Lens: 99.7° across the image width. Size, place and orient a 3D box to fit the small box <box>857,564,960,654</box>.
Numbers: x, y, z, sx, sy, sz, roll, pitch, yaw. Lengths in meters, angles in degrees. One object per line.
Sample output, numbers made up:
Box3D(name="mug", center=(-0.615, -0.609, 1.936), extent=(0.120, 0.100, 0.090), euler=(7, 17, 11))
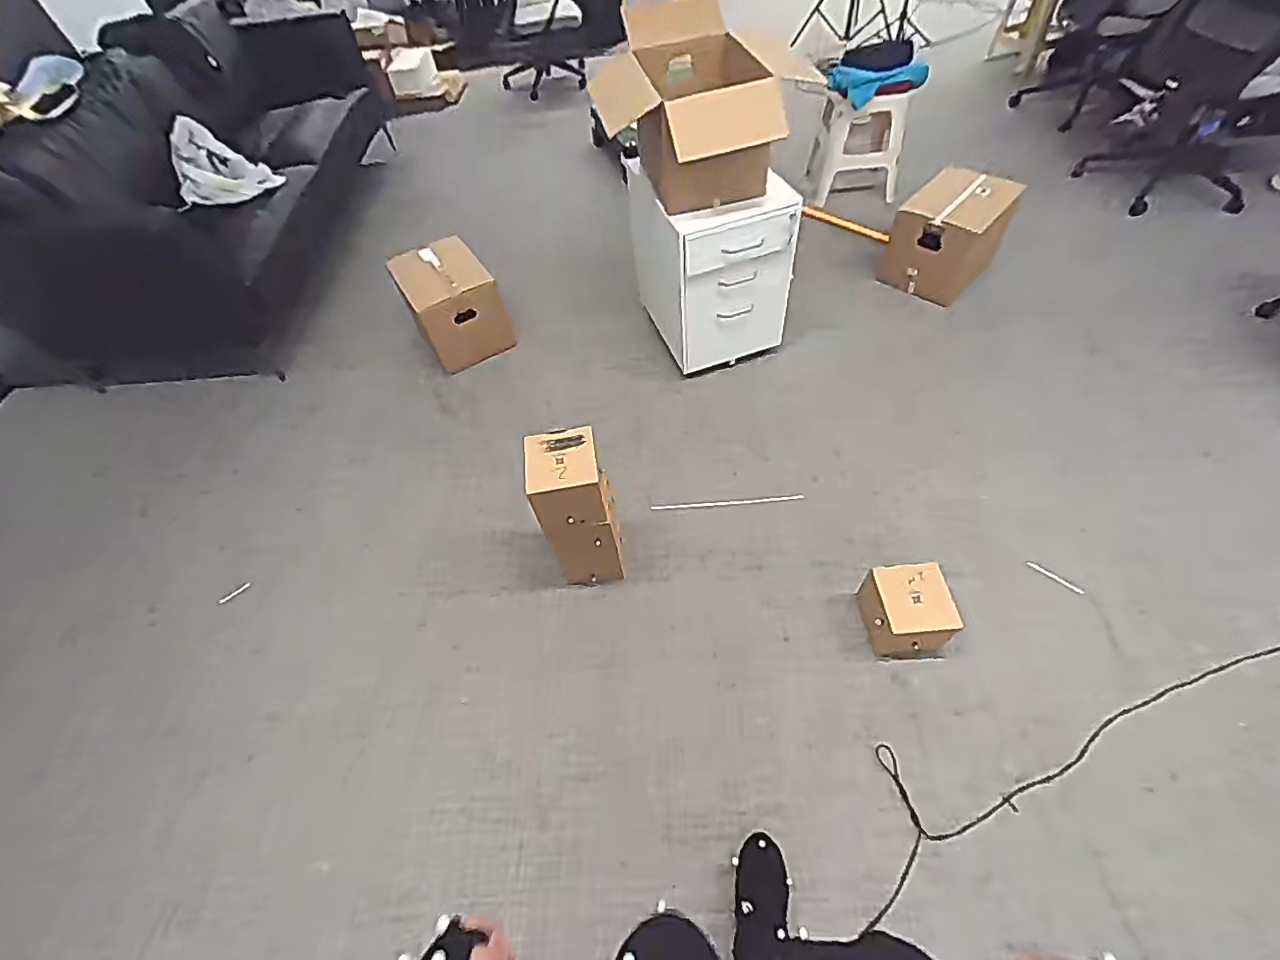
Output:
Box3D(name="small box", center=(0.675, 0.335, 1.381), extent=(0.168, 0.176, 0.179), euler=(-6, 54, 2))

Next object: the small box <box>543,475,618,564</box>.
Box3D(name="small box", center=(-0.155, 0.109, 1.452), extent=(0.179, 0.176, 0.168), euler=(-9, 52, 3))

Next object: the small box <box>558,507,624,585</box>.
Box3D(name="small box", center=(-0.140, 0.195, 1.590), extent=(0.179, 0.176, 0.168), euler=(-5, 54, 3))
